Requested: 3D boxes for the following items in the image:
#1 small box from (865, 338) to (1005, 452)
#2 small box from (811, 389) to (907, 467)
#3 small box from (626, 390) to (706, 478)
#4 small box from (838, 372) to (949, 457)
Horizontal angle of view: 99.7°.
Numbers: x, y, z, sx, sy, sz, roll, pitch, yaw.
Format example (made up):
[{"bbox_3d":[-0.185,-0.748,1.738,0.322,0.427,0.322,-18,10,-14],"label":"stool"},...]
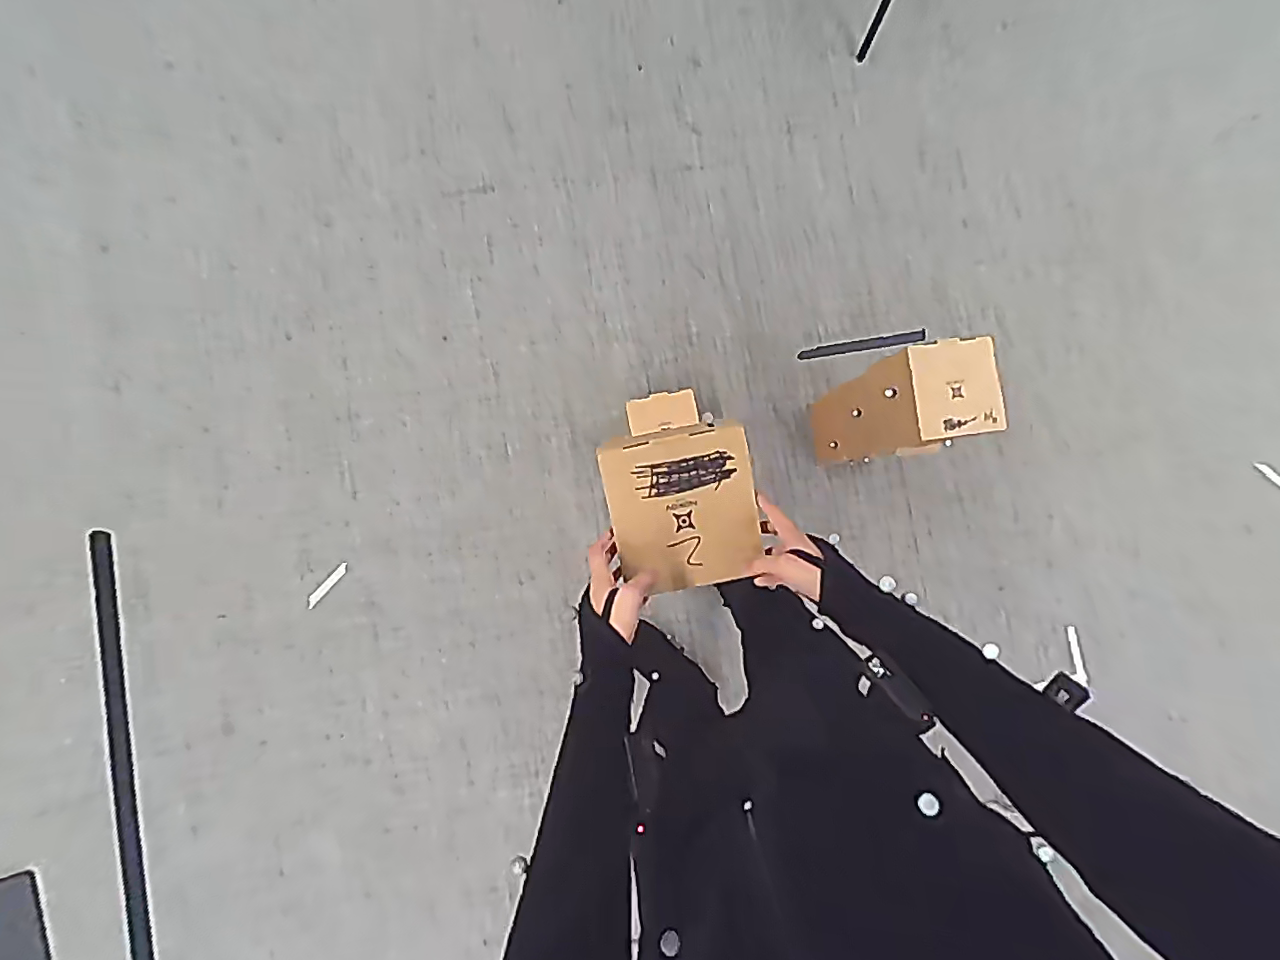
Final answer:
[{"bbox_3d":[0.562,-0.158,1.055,0.168,0.176,0.179,-7,86,-4],"label":"small box"},{"bbox_3d":[0.551,-0.135,1.382,0.168,0.176,0.179,-7,87,-4],"label":"small box"},{"bbox_3d":[0.058,-0.110,1.354,0.168,0.176,0.179,-11,86,-3],"label":"small box"},{"bbox_3d":[0.567,-0.148,1.220,0.168,0.176,0.179,-7,86,-4],"label":"small box"}]
